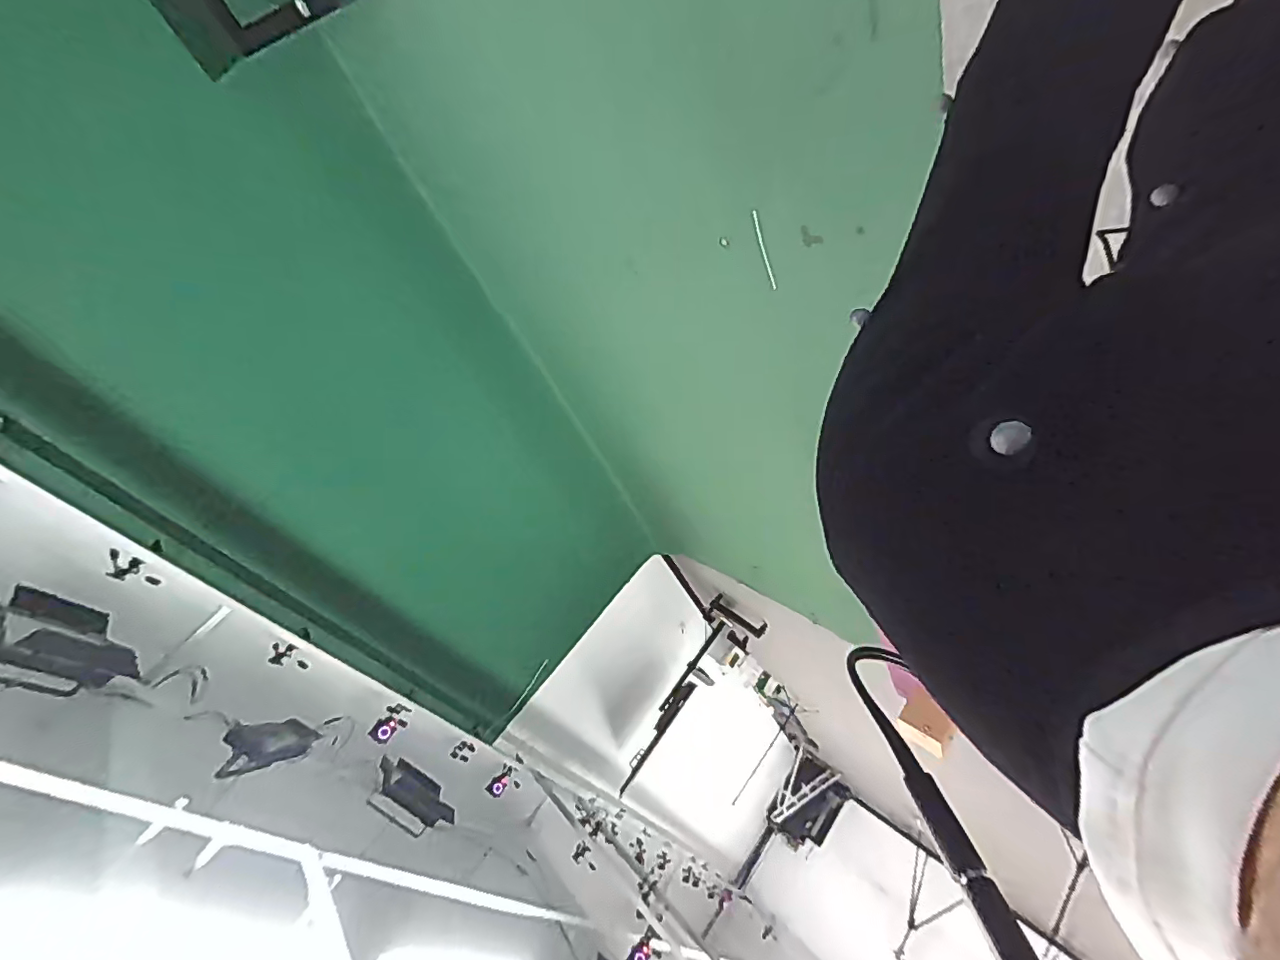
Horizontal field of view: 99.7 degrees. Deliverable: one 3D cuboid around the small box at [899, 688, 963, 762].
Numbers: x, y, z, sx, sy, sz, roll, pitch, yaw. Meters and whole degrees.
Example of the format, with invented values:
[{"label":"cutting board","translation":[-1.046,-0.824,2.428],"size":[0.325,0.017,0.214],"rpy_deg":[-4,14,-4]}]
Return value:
[{"label":"small box","translation":[1.128,0.945,2.090],"size":[0.168,0.176,0.179],"rpy_deg":[22,153,43]}]
